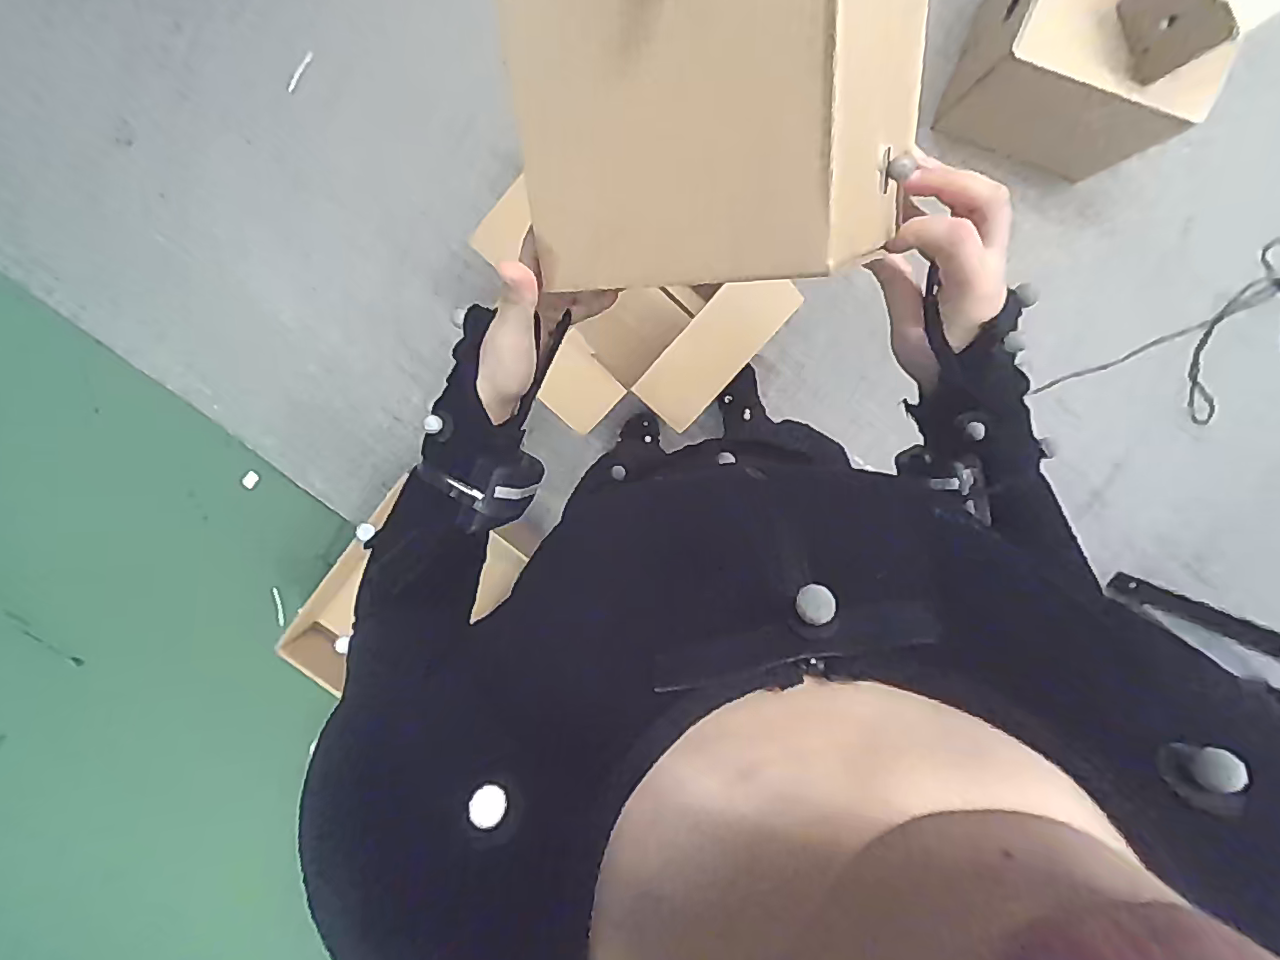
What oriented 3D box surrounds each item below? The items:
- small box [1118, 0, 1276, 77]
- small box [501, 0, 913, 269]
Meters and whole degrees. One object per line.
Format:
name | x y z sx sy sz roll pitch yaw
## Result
small box | 0.987 -0.857 0.935 0.179 0.176 0.168 -31 98 8
small box | 0.047 -0.219 0.303 0.168 0.179 0.176 10 117 33
